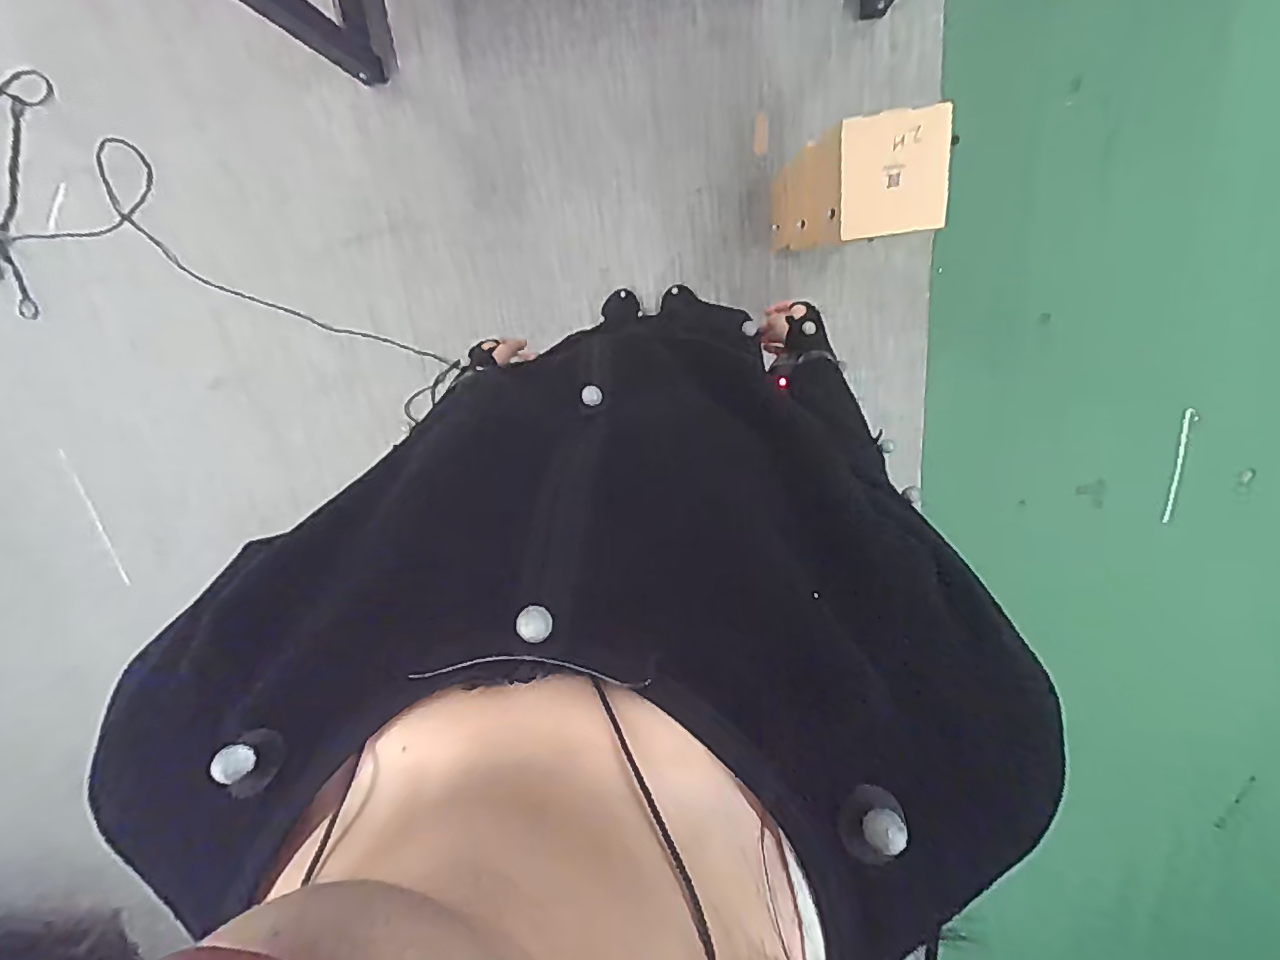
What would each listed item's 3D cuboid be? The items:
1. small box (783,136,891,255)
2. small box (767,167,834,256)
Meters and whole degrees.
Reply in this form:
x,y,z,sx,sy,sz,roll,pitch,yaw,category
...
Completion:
x,y,z,sx,sy,sz,roll,pitch,yaw,category
0.386,-0.558,1.083,0.168,0.176,0.179,-6,109,5,small box
0.389,-0.611,1.236,0.179,0.176,0.168,-4,108,4,small box
